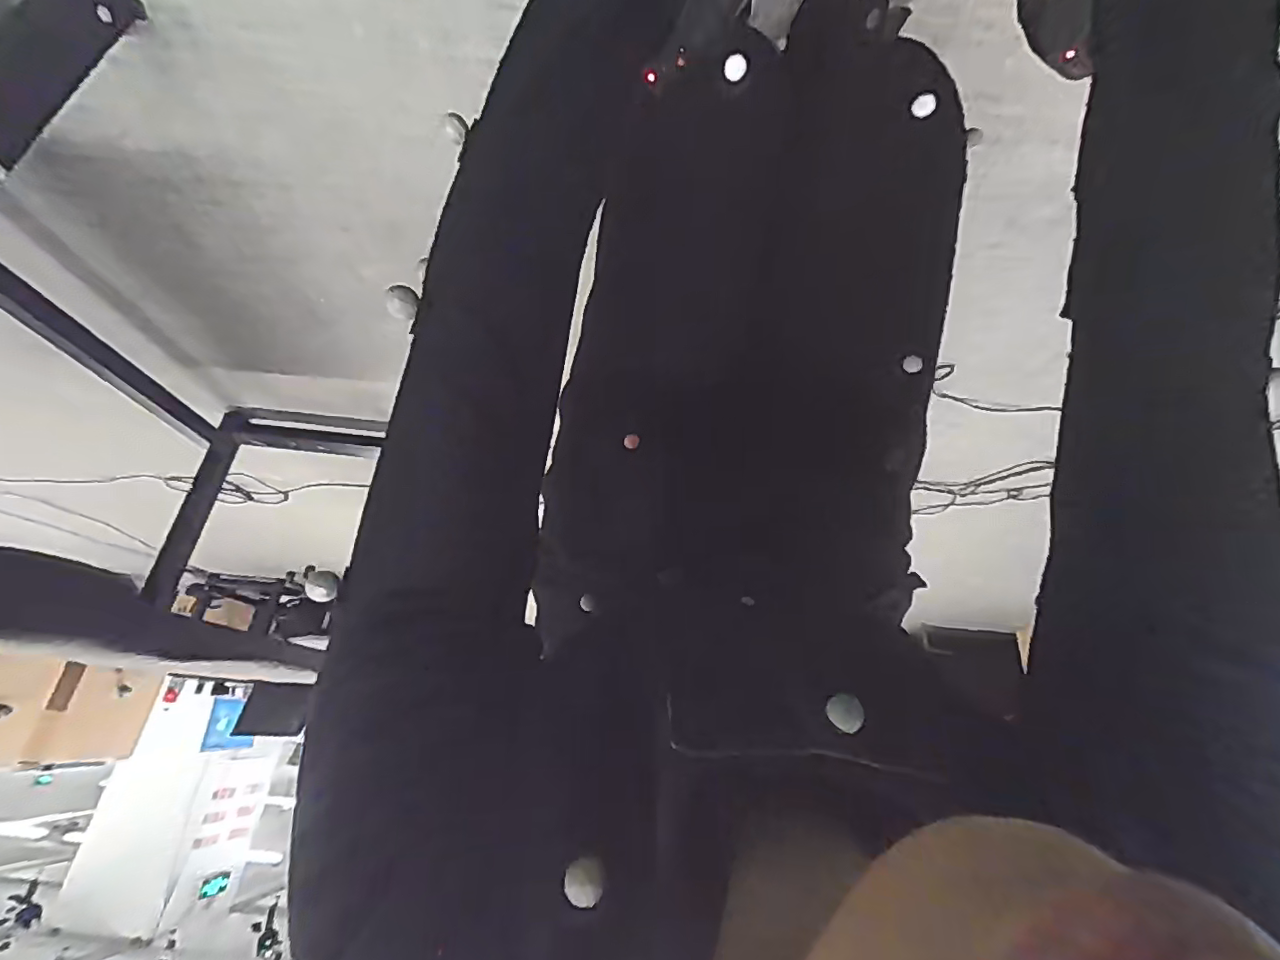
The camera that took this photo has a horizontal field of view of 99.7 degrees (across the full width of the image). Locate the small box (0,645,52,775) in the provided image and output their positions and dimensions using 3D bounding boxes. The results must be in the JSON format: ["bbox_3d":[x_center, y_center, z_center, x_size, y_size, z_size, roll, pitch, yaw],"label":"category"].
[{"bbox_3d":[-0.961,0.297,0.719,0.179,0.176,0.168,5,156,2],"label":"small box"}]

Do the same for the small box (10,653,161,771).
[{"bbox_3d":[-0.990,0.389,0.922,0.179,0.176,0.168,4,156,3],"label":"small box"}]
